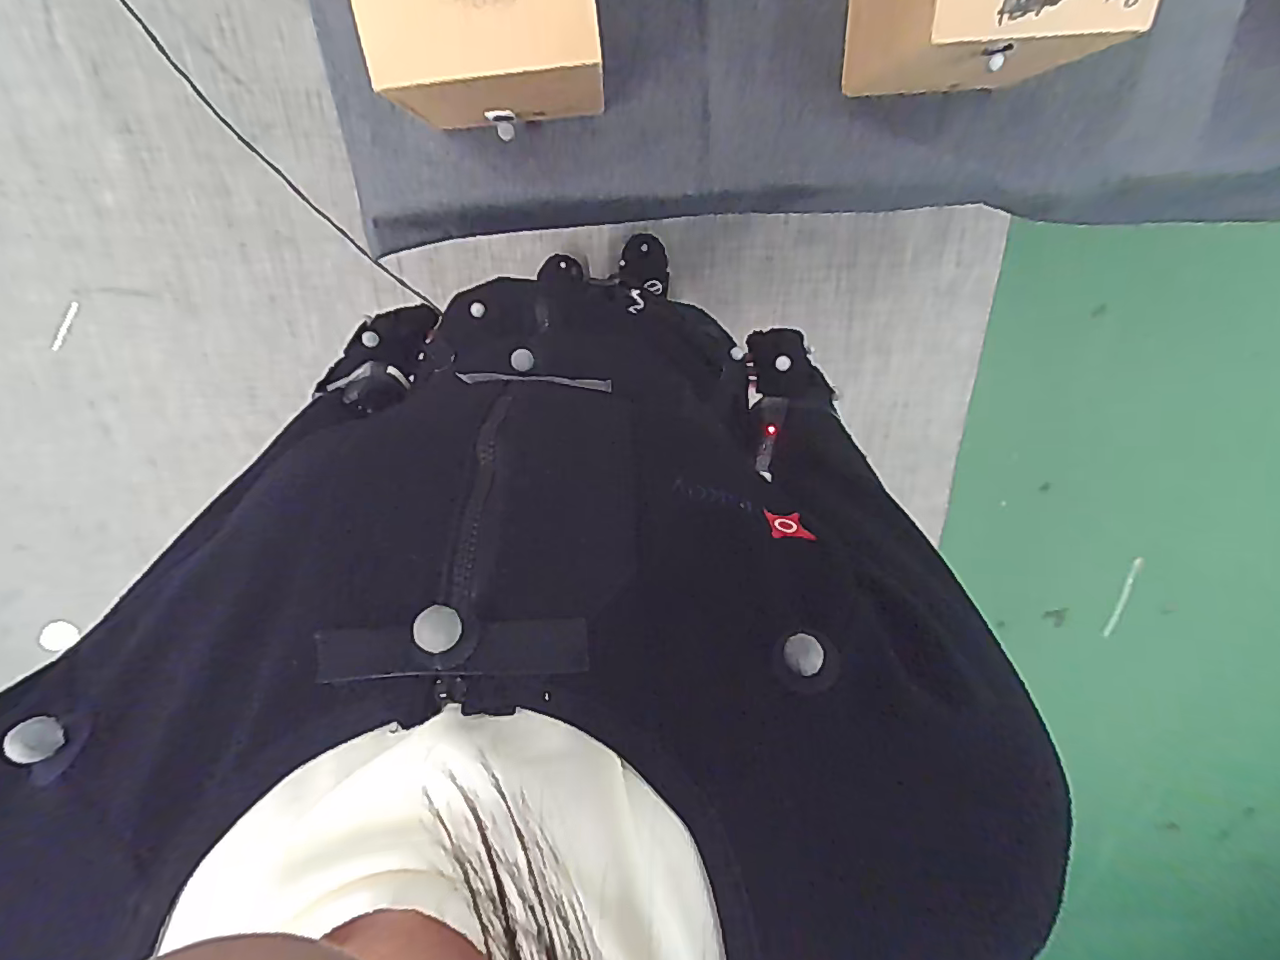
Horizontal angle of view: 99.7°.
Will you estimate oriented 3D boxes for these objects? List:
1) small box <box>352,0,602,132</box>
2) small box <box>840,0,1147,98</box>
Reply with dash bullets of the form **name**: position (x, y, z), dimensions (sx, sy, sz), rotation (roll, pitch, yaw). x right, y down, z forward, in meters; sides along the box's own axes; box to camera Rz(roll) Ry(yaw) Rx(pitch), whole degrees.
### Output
- **small box**: position (-0.122, -0.399, 0.425), dimensions (0.168, 0.176, 0.179), rotation (-7, 114, 1)
- **small box**: position (0.276, -0.435, 0.434), dimensions (0.168, 0.176, 0.179), rotation (-4, 114, -1)
